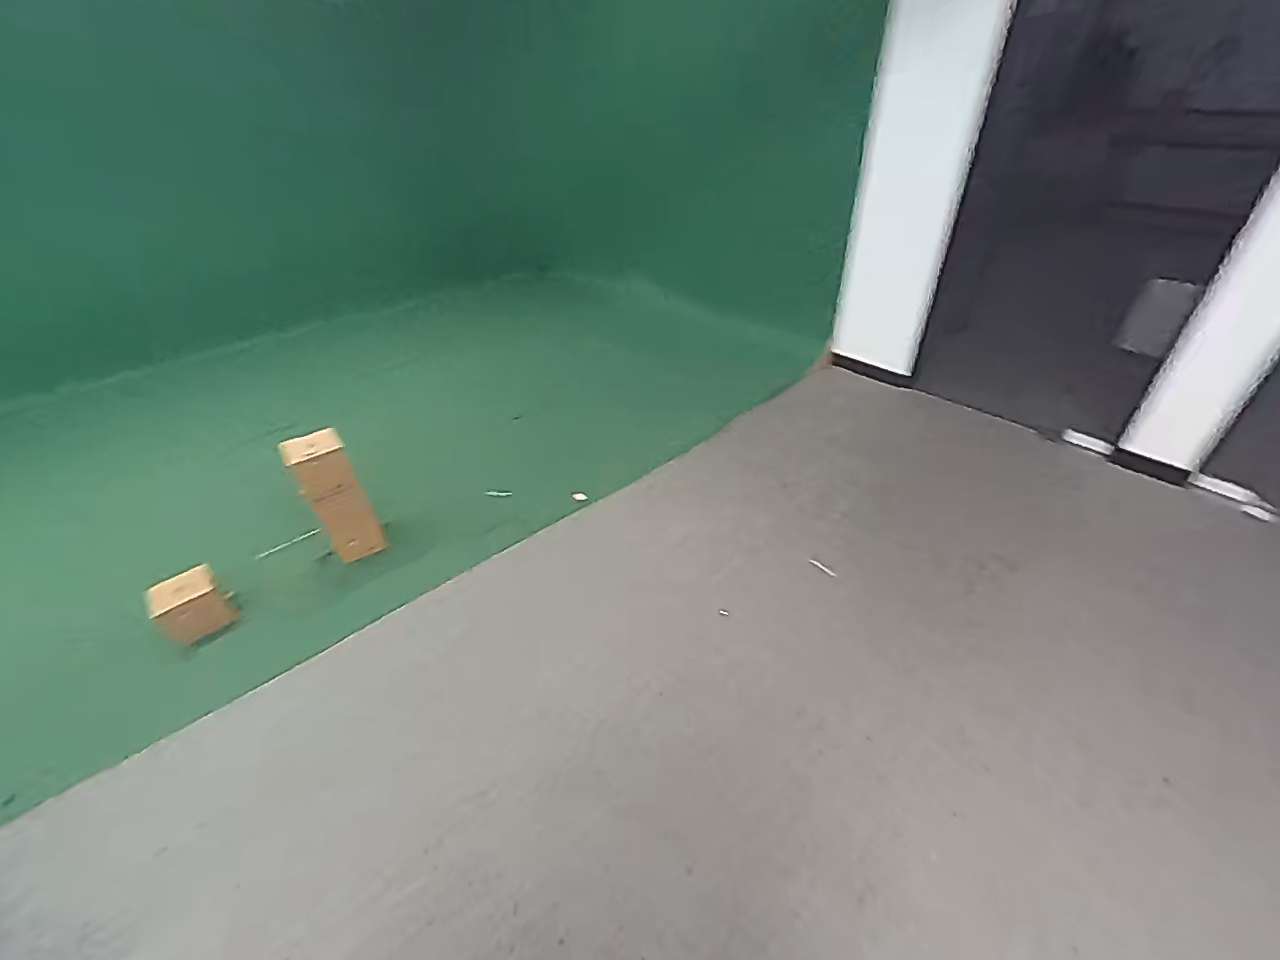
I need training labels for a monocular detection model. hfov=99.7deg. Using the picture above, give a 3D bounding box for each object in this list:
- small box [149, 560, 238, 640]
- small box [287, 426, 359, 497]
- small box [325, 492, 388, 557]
[{"bbox_3d":[-1.541,0.418,1.870,0.179,0.176,0.168,-29,46,-30],"label":"small box"},{"bbox_3d":[-1.134,-0.067,1.936,0.168,0.176,0.179,-25,42,-27],"label":"small box"},{"bbox_3d":[-1.123,0.185,2.148,0.168,0.176,0.179,-22,42,-24],"label":"small box"}]
